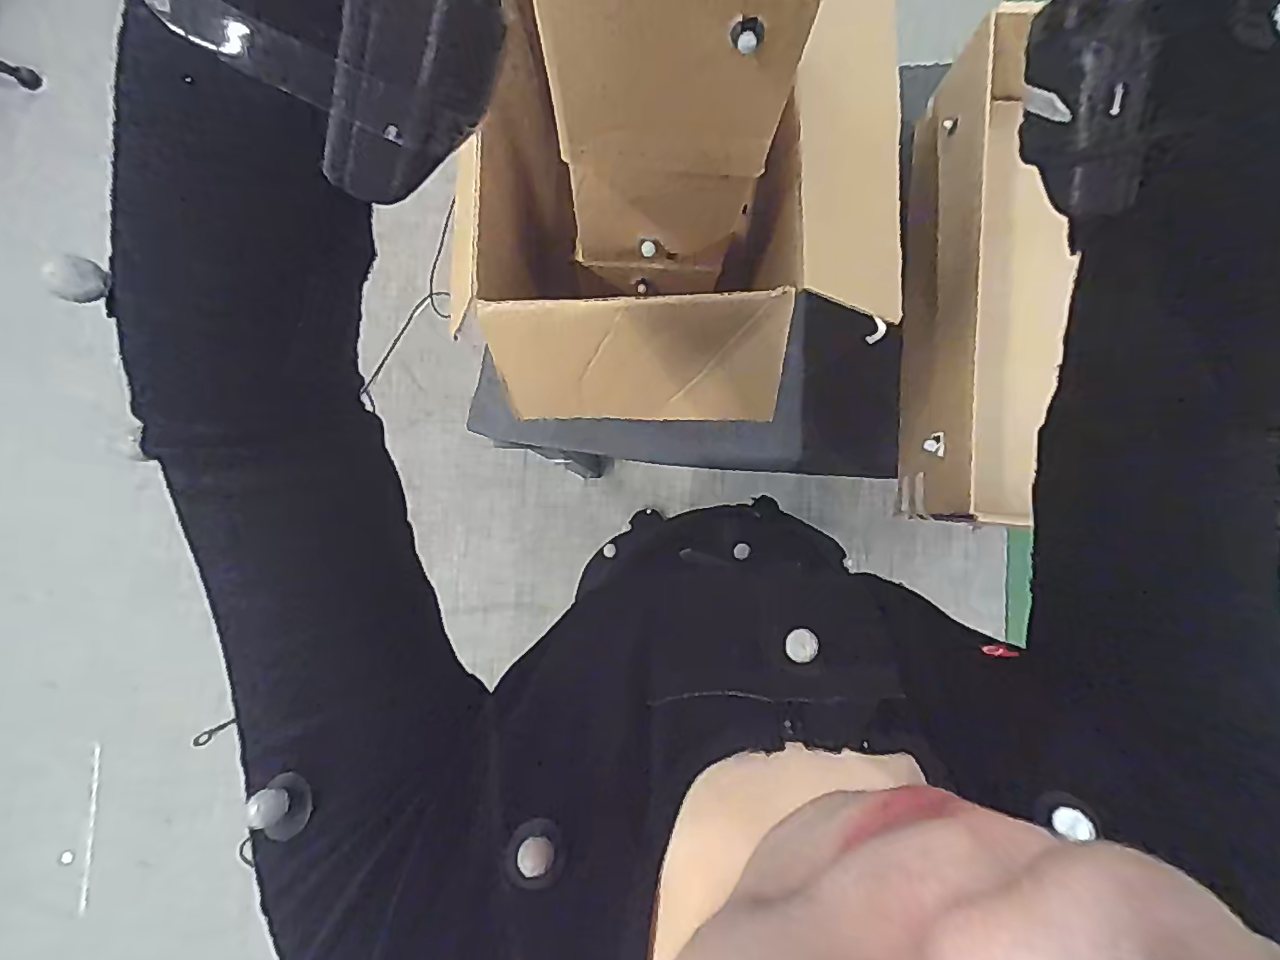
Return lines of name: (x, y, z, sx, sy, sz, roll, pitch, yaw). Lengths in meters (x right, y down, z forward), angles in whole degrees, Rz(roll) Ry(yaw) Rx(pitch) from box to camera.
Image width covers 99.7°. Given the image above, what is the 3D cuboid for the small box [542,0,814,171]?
small box: (0.024, -0.360, 0.400, 0.179, 0.176, 0.168, 3, 85, -2)
